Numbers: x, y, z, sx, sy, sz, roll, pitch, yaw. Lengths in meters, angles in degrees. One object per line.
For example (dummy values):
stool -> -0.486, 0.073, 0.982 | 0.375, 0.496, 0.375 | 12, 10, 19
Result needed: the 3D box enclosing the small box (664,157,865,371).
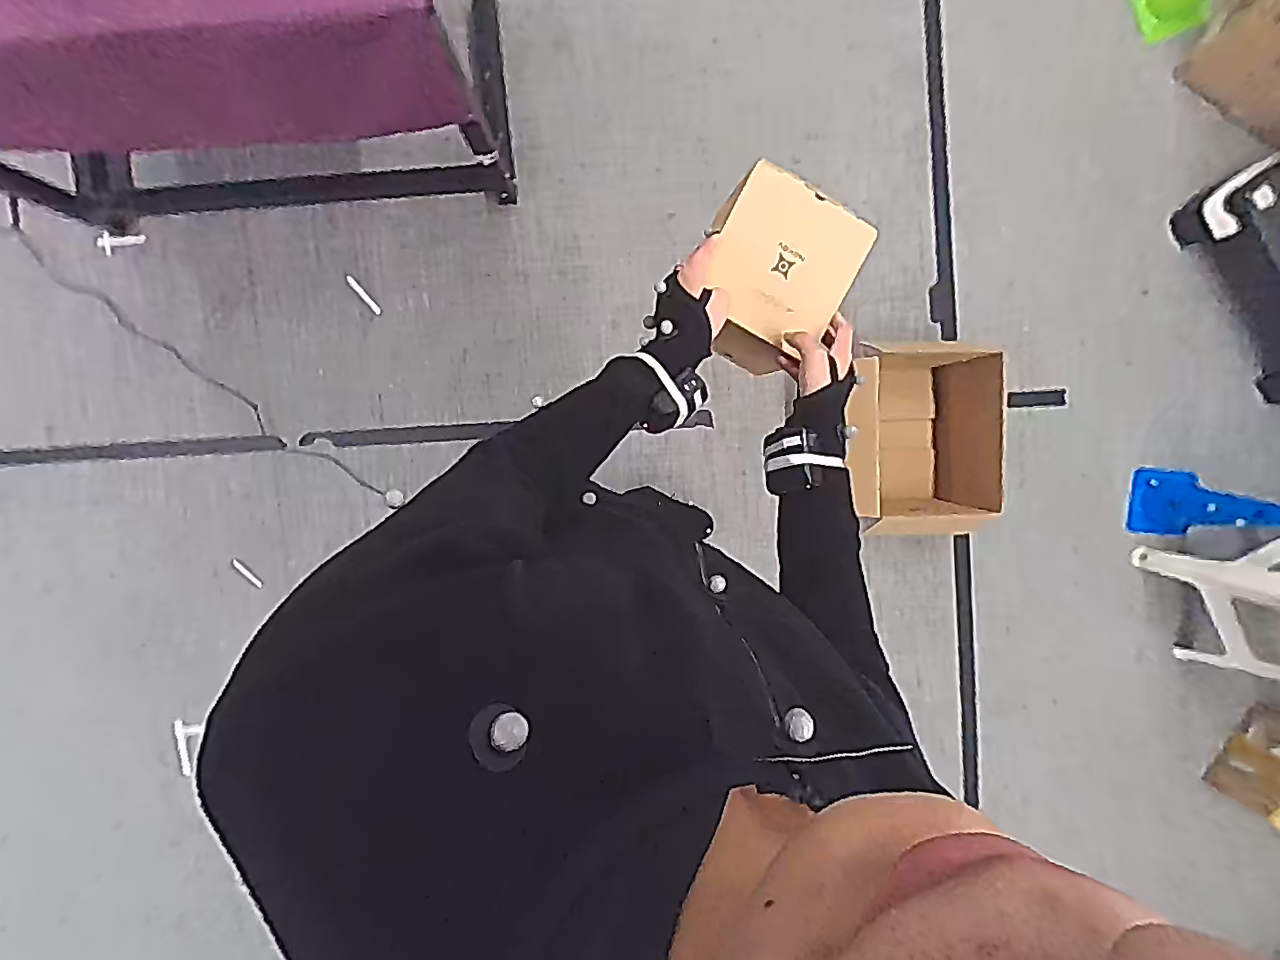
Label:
small box -> 0.146, -0.261, 0.701 | 0.168, 0.176, 0.179 | 26, 91, -9
